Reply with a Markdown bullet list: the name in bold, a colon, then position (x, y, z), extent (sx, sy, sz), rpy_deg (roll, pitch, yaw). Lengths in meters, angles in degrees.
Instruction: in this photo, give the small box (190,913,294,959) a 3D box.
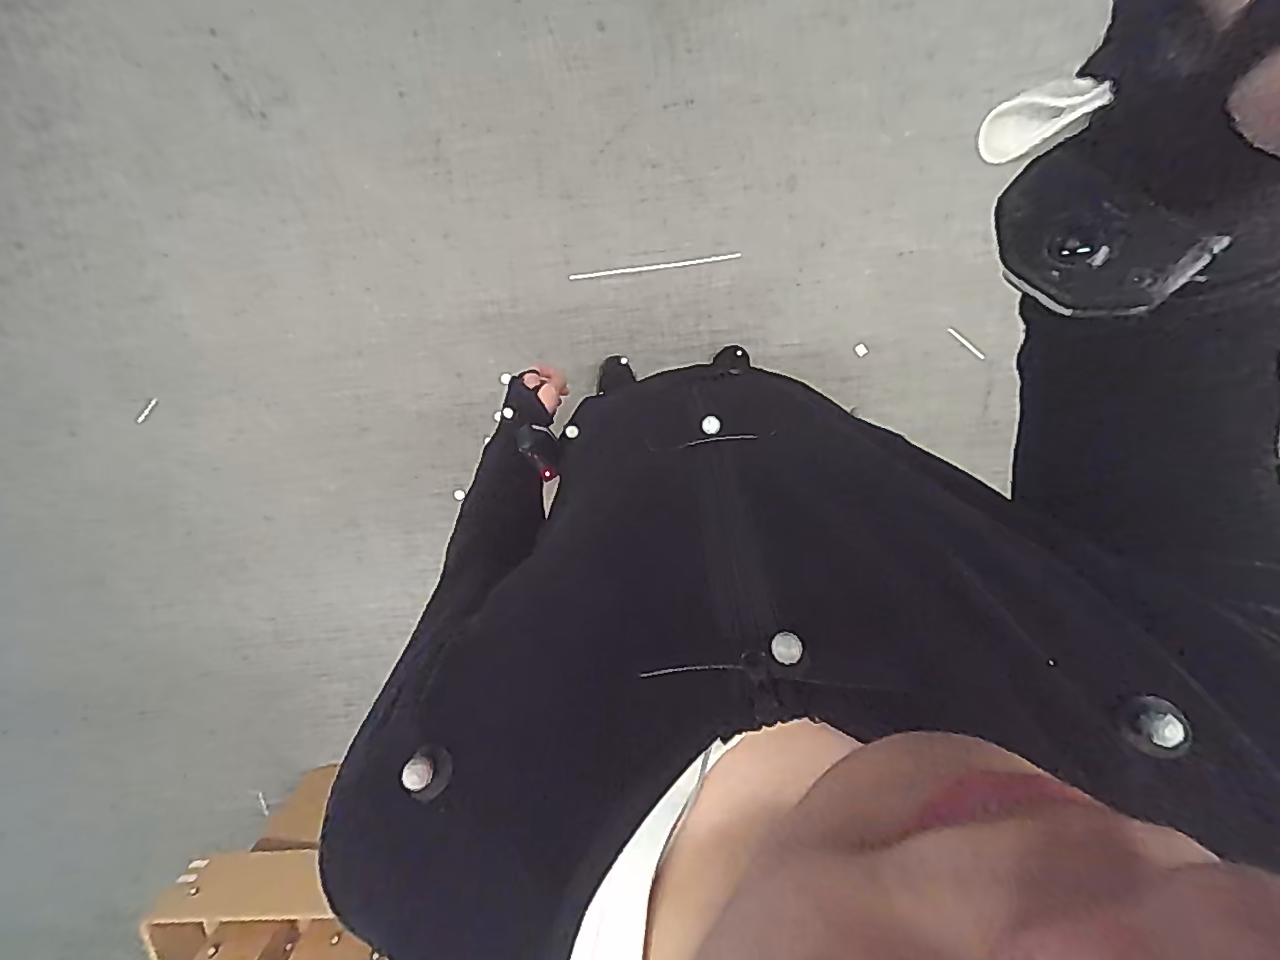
- **small box**: position (-1.063, 1.291, 1.430), extent (0.179, 0.176, 0.168), rpy_deg (-3, 103, 0)
